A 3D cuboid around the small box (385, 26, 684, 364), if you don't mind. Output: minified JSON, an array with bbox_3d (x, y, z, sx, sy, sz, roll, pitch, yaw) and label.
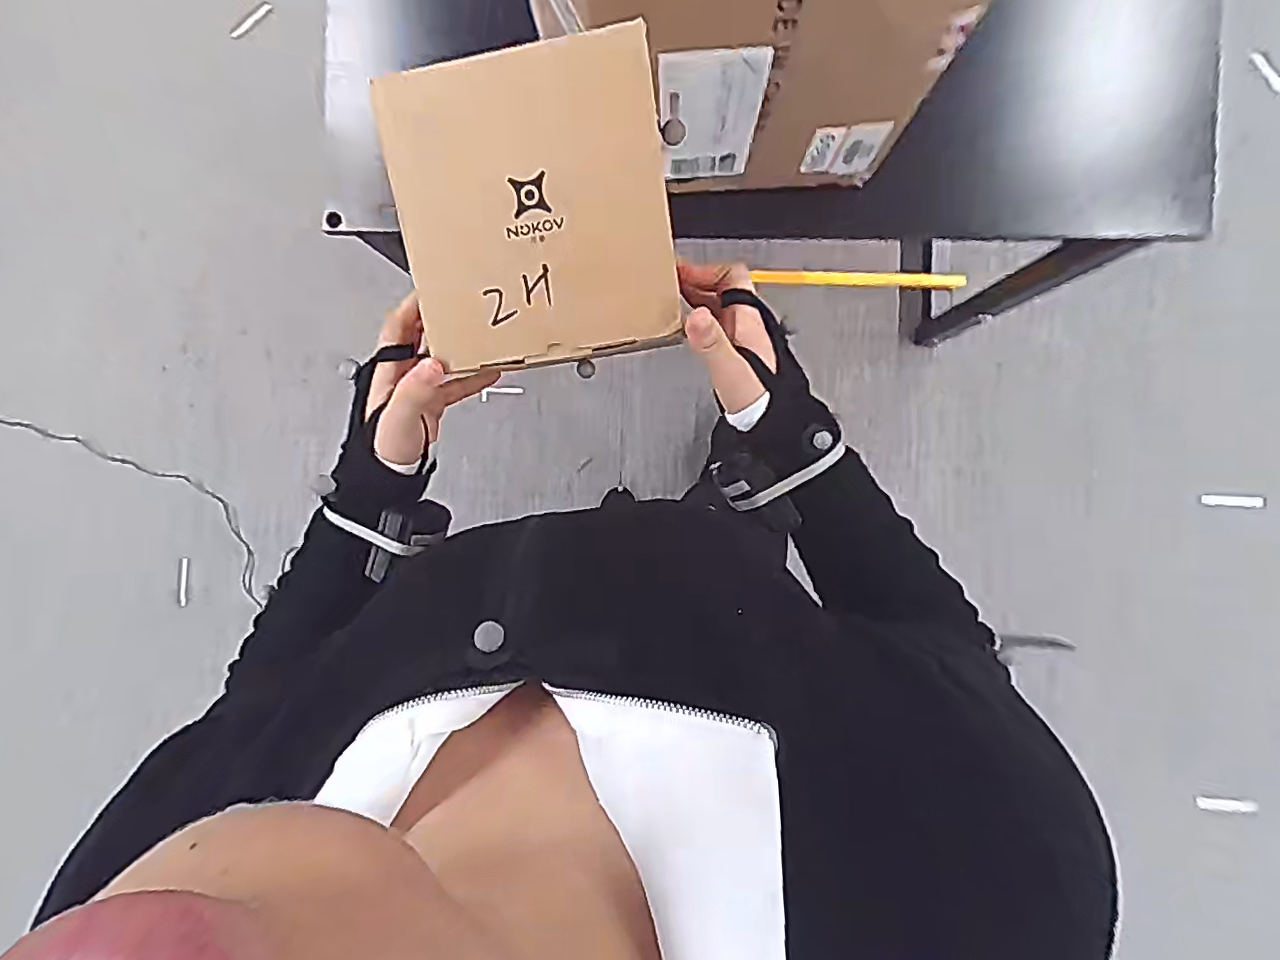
[{"bbox_3d":[-0.059,-0.186,0.413,0.168,0.176,0.179,-7,102,6],"label":"small box"}]
